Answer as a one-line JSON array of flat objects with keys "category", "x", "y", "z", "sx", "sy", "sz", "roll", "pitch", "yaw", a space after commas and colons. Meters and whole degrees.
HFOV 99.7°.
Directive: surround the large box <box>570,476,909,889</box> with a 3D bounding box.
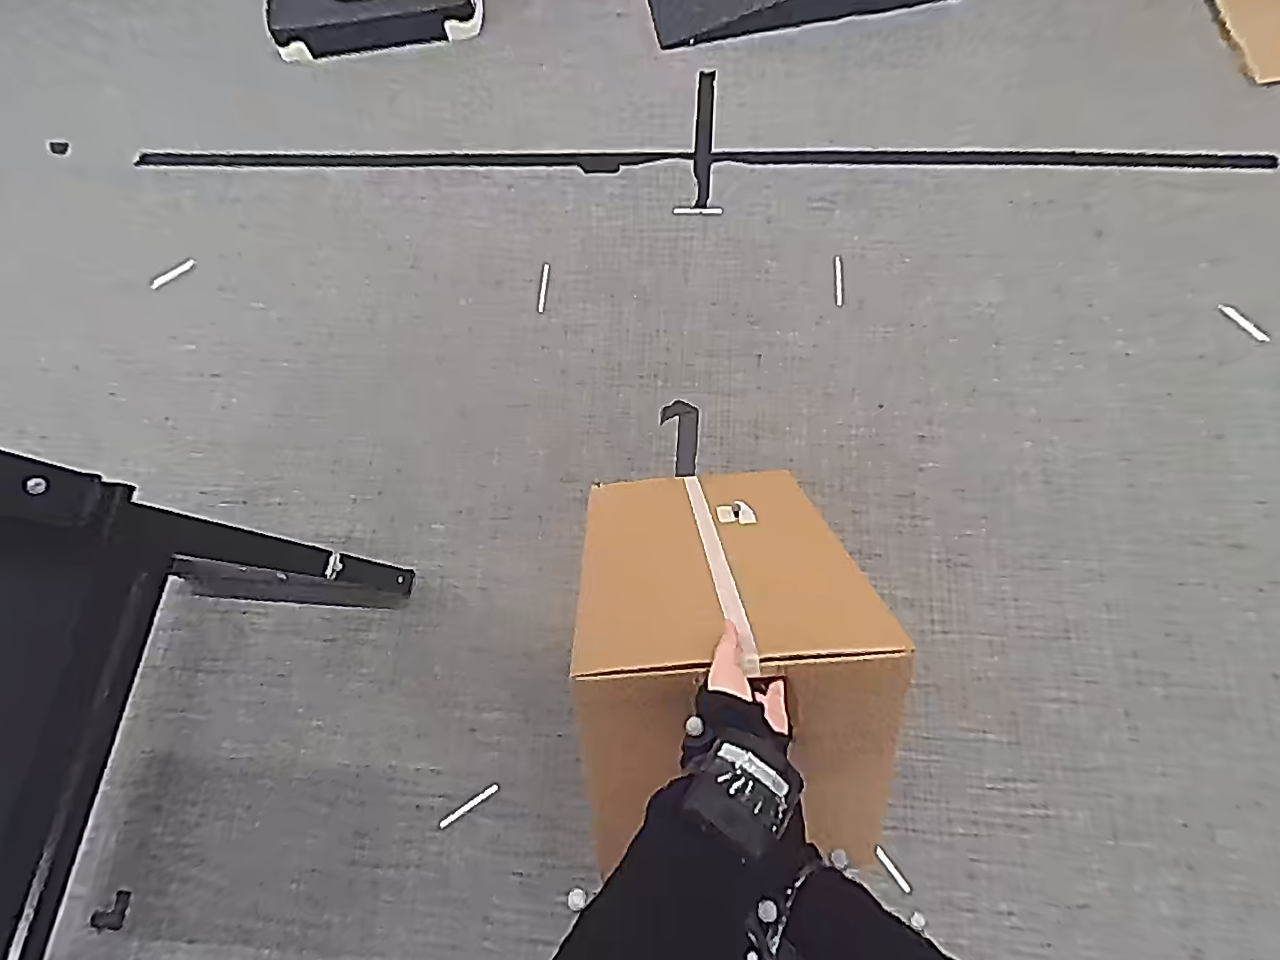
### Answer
[{"category": "large box", "x": 0.091, "y": 0.222, "z": 0.714, "sx": 0.320, "sy": 0.408, "sz": 0.320, "roll": -4, "pitch": 113, "yaw": -1}]
